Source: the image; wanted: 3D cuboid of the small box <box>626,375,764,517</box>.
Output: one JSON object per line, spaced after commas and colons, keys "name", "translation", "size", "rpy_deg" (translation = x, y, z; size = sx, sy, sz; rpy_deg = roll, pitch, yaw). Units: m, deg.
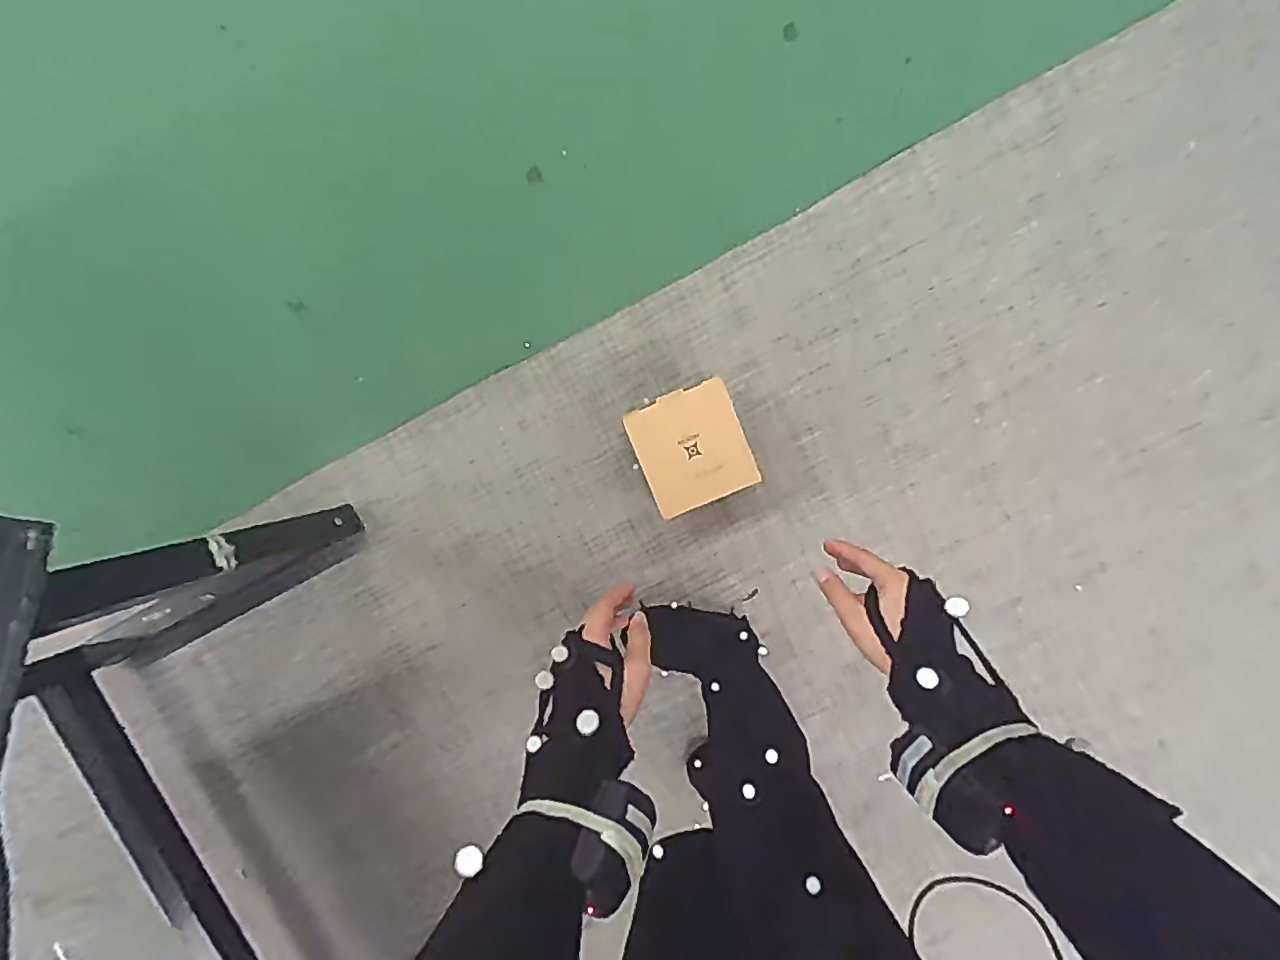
{"name": "small box", "translation": [0.085, -0.056, 0.900], "size": [0.168, 0.176, 0.179], "rpy_deg": [-23, 94, 4]}
